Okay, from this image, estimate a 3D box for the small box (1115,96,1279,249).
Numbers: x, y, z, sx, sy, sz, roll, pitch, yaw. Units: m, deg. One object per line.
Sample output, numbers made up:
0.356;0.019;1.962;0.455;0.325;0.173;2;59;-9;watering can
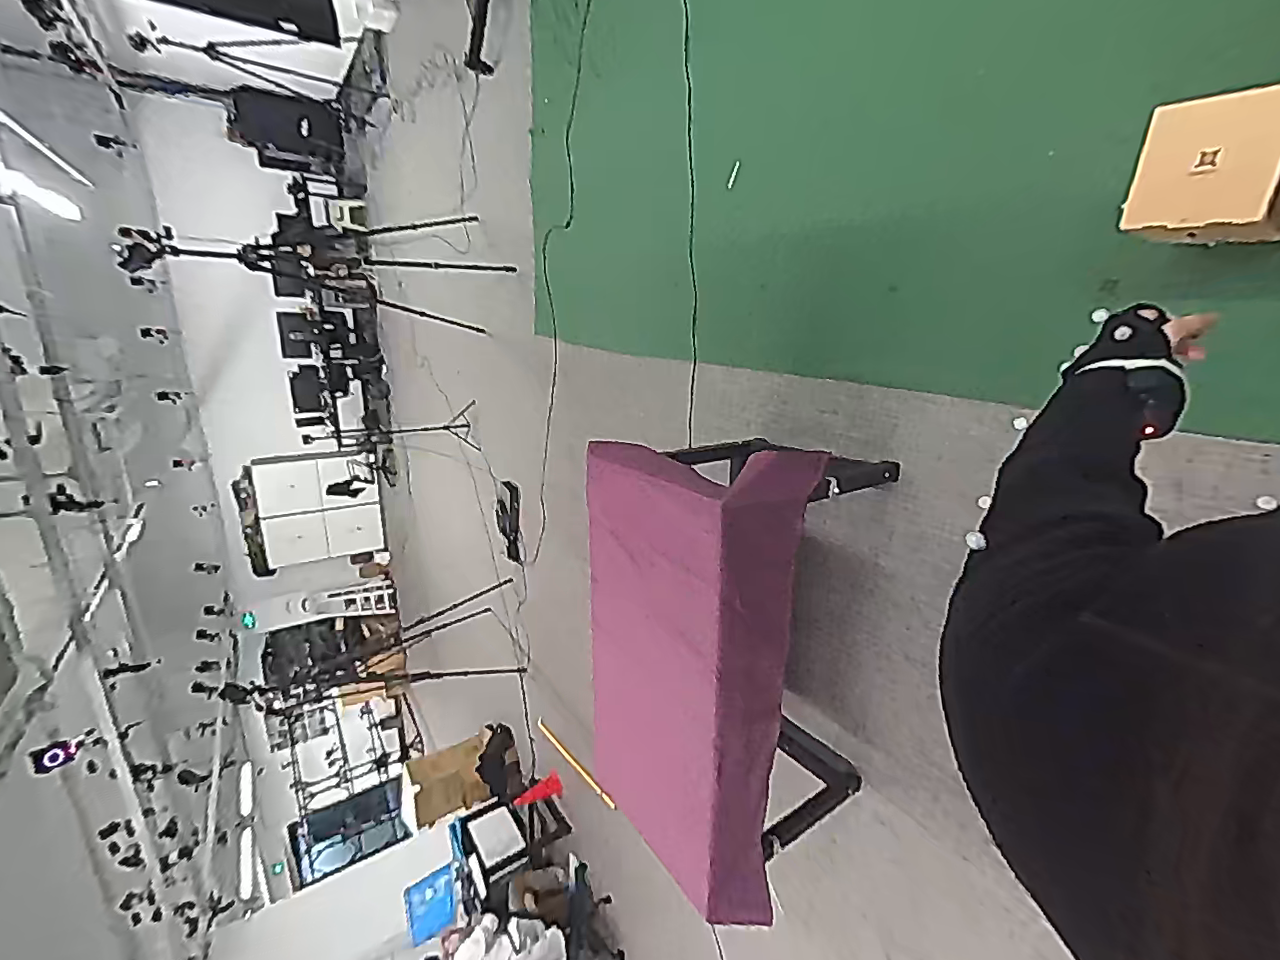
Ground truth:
0.908;-0.471;0.856;0.168;0.176;0.179;28;120;51;small box
